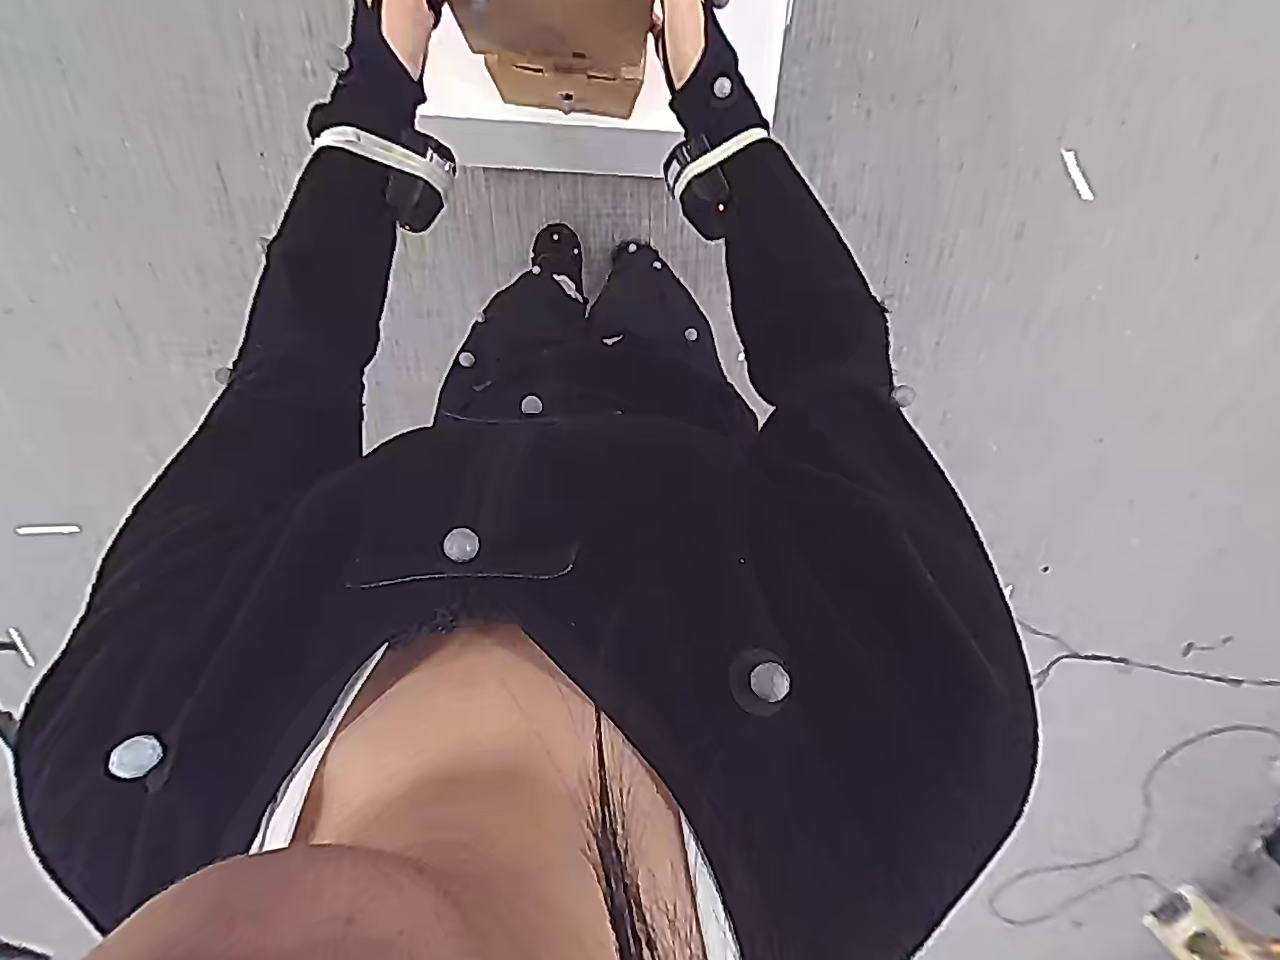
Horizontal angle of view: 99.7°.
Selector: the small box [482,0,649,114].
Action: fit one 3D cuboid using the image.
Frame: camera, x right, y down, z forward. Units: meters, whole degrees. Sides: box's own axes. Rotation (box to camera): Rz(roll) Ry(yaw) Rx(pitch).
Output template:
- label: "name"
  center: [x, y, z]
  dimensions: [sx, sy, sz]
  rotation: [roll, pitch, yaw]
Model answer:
- label: "small box"
  center: [-0.076, -0.523, 0.590]
  dimensions: [0.168, 0.176, 0.179]
  rotation: [2, 114, -8]
